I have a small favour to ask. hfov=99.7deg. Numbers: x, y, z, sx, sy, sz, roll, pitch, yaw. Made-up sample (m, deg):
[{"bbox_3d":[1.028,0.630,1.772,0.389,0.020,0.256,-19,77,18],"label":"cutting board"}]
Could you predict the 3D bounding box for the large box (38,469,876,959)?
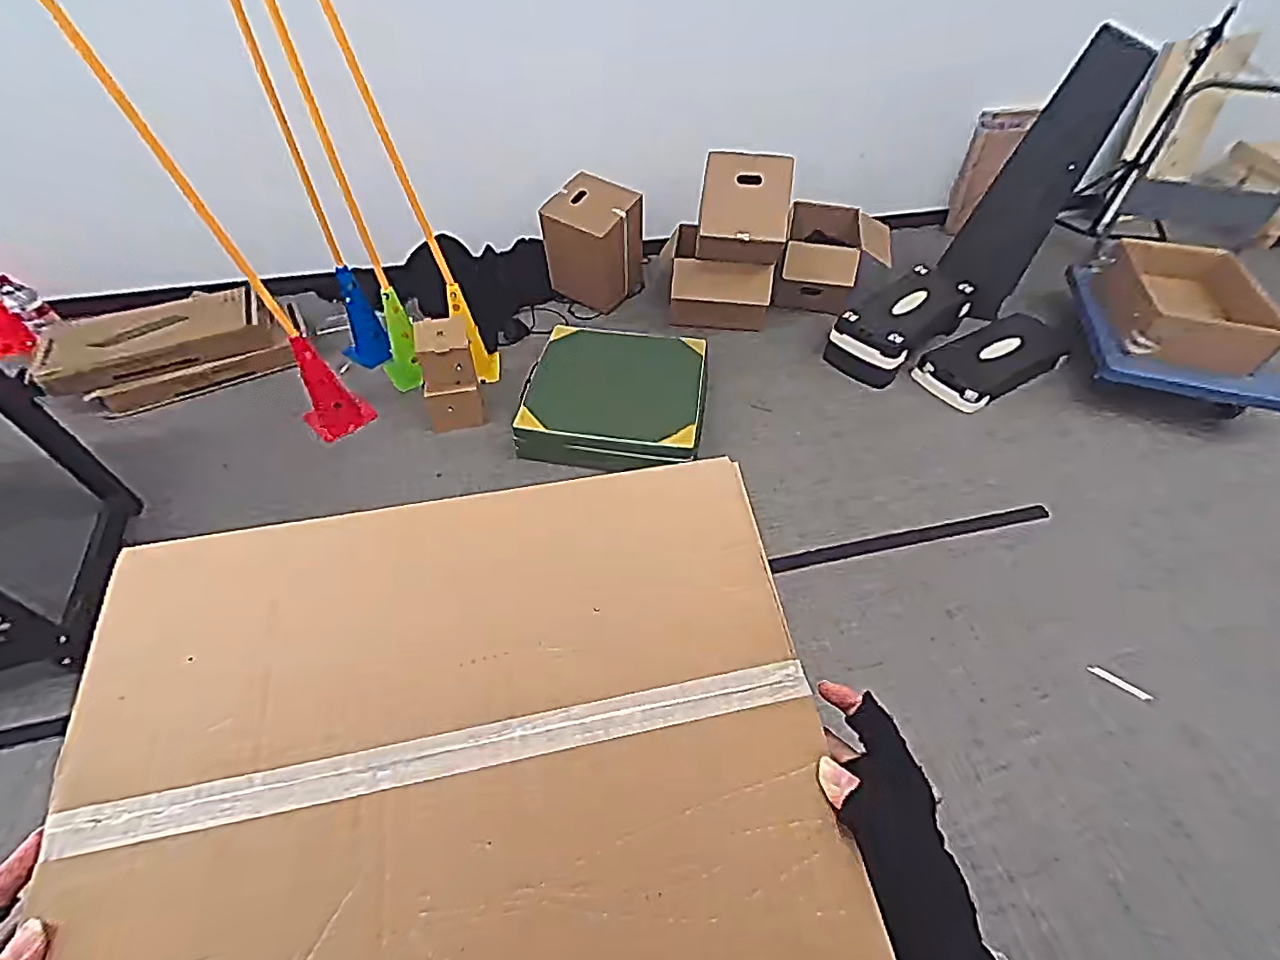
[{"bbox_3d":[-0.106,0.223,0.441,0.408,0.320,0.320,-9,62,-7],"label":"large box"}]
